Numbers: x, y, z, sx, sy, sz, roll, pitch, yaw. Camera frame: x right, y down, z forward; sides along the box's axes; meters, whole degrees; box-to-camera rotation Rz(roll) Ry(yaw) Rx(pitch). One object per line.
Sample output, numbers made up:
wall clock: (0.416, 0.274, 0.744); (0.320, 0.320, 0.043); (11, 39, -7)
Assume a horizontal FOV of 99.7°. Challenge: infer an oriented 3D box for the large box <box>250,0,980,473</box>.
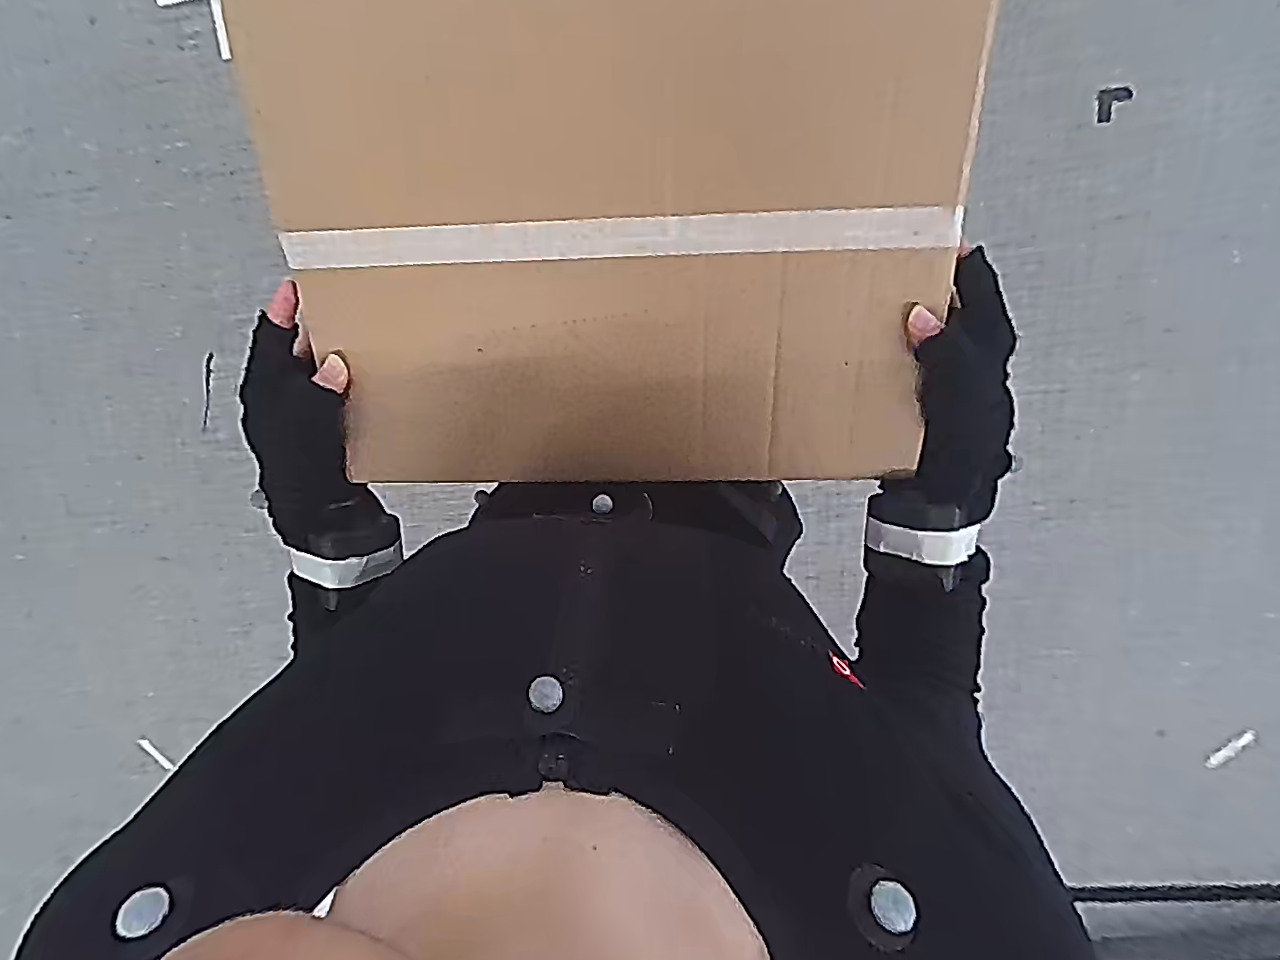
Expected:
large box: (-0.009, -0.207, 0.473); (0.408, 0.320, 0.320); (-1, 113, 3)
